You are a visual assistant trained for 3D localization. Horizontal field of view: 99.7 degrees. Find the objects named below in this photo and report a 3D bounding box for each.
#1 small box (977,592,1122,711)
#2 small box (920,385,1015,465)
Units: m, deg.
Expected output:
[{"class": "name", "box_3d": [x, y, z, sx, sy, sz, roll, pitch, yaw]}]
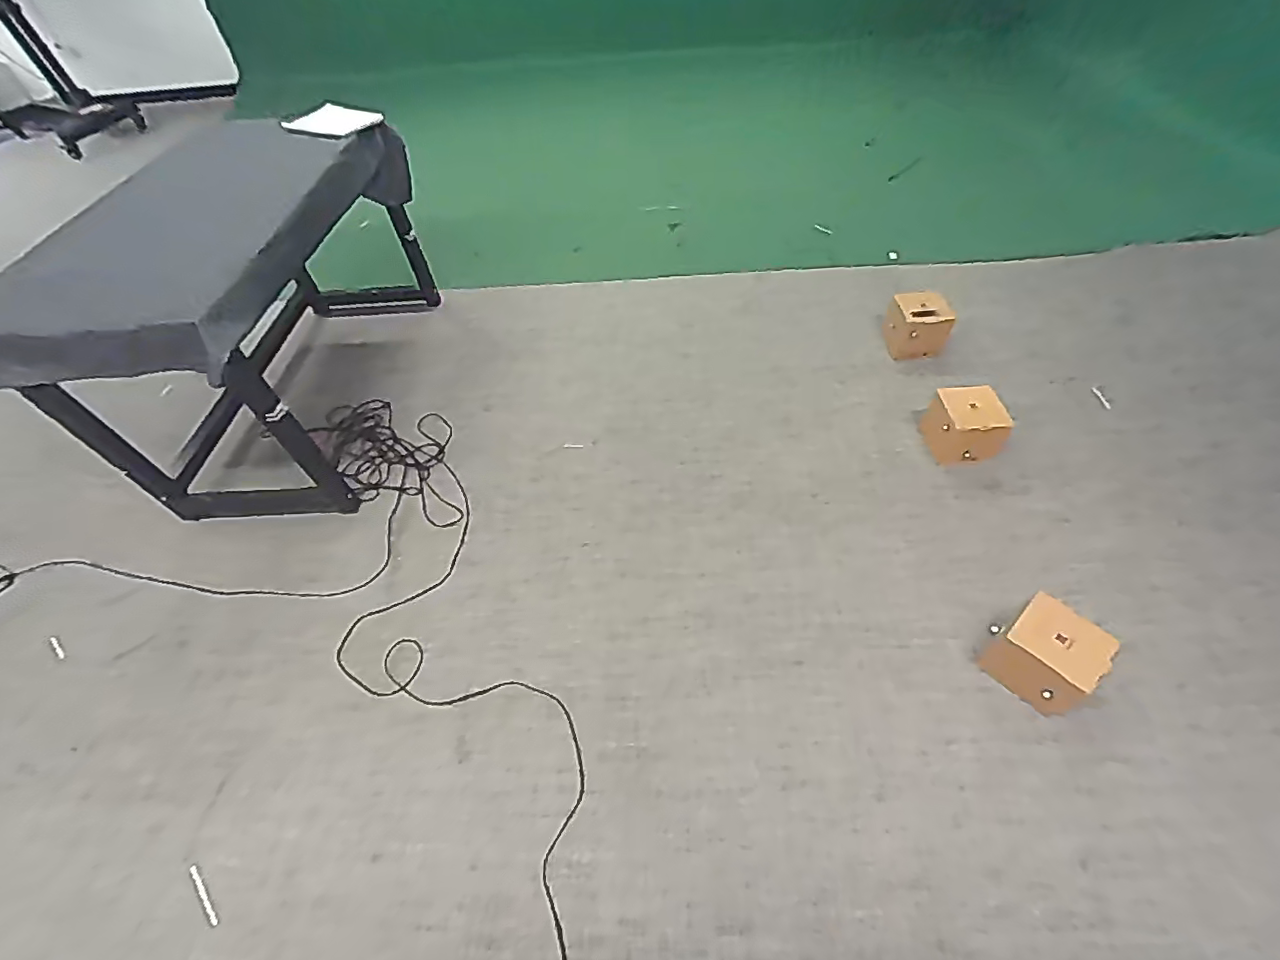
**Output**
[{"class": "small box", "box_3d": [0.917, 0.396, 1.226, 0.168, 0.176, 0.179, -37, 57, -24]}, {"class": "small box", "box_3d": [0.994, -0.168, 1.662, 0.168, 0.176, 0.179, -4, 52, 1]}]
